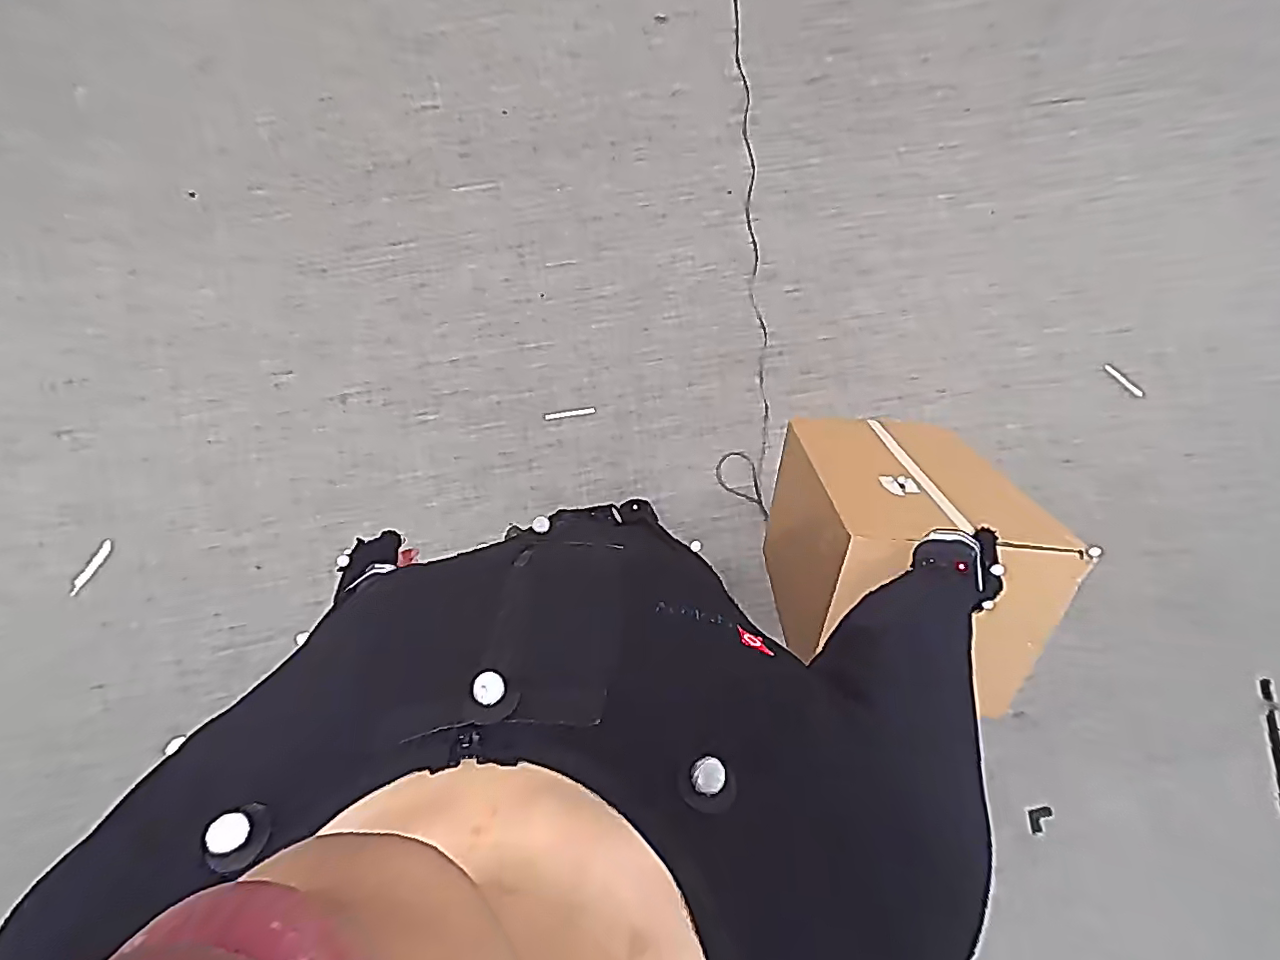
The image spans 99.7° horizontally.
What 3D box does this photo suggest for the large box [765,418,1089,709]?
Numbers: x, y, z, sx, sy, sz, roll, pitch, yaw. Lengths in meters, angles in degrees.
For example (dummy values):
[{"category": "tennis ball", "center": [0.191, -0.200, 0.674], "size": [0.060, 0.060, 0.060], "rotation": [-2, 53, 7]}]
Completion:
[{"category": "large box", "center": [0.427, 0.122, 0.944], "size": [0.320, 0.408, 0.320], "rotation": [4, 120, 0]}]
